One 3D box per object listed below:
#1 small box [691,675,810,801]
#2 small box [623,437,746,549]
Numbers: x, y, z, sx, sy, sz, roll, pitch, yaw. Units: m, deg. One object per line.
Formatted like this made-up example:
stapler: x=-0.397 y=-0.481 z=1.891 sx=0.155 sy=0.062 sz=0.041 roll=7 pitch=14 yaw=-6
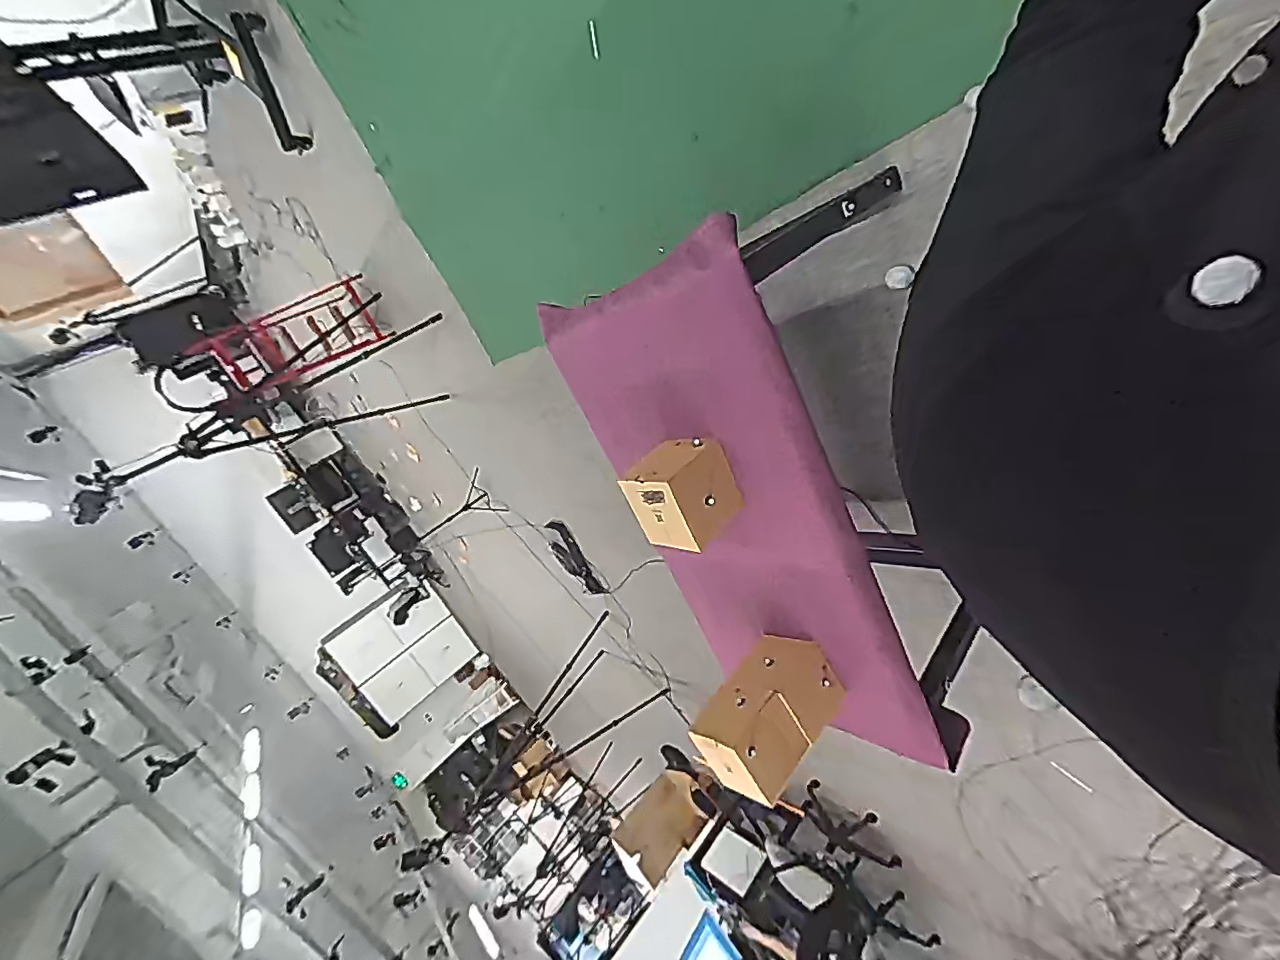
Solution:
small box: x=0.260 y=0.586 z=1.252 sx=0.179 sy=0.176 sz=0.168 roll=58 pitch=149 yaw=-10
small box: x=0.100 y=0.019 z=1.171 sx=0.168 sy=0.176 sz=0.179 roll=8 pitch=129 yaw=52
